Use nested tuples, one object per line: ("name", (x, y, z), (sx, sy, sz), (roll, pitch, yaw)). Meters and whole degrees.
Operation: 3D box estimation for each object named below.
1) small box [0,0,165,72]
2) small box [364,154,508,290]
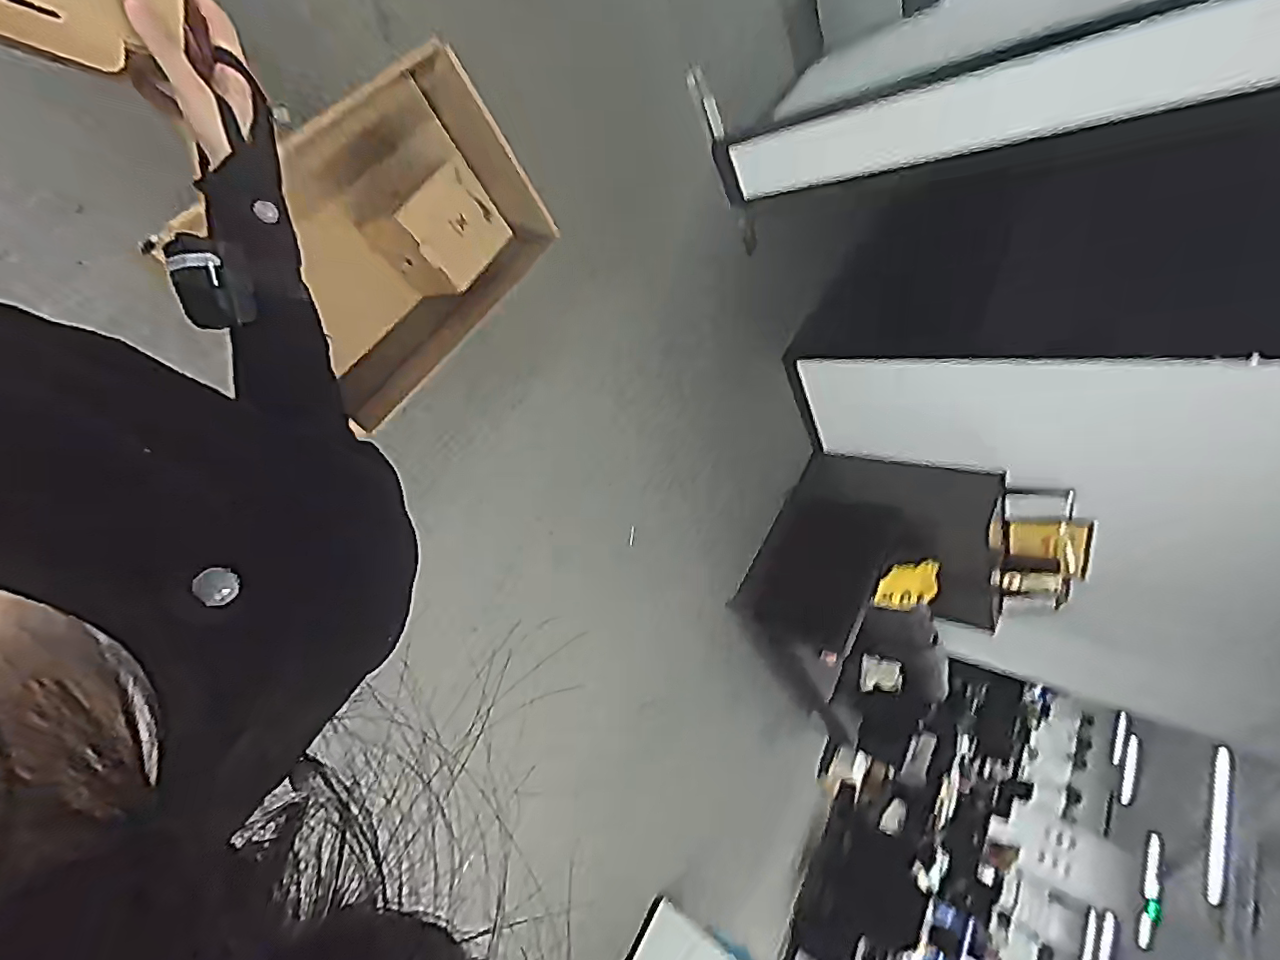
("small box", (-0.414, -0.393, 0.335), (0.168, 0.176, 0.179), (-6, 113, -47))
("small box", (-0.400, -0.487, 1.047), (0.179, 0.176, 0.168), (-58, 136, -19))
